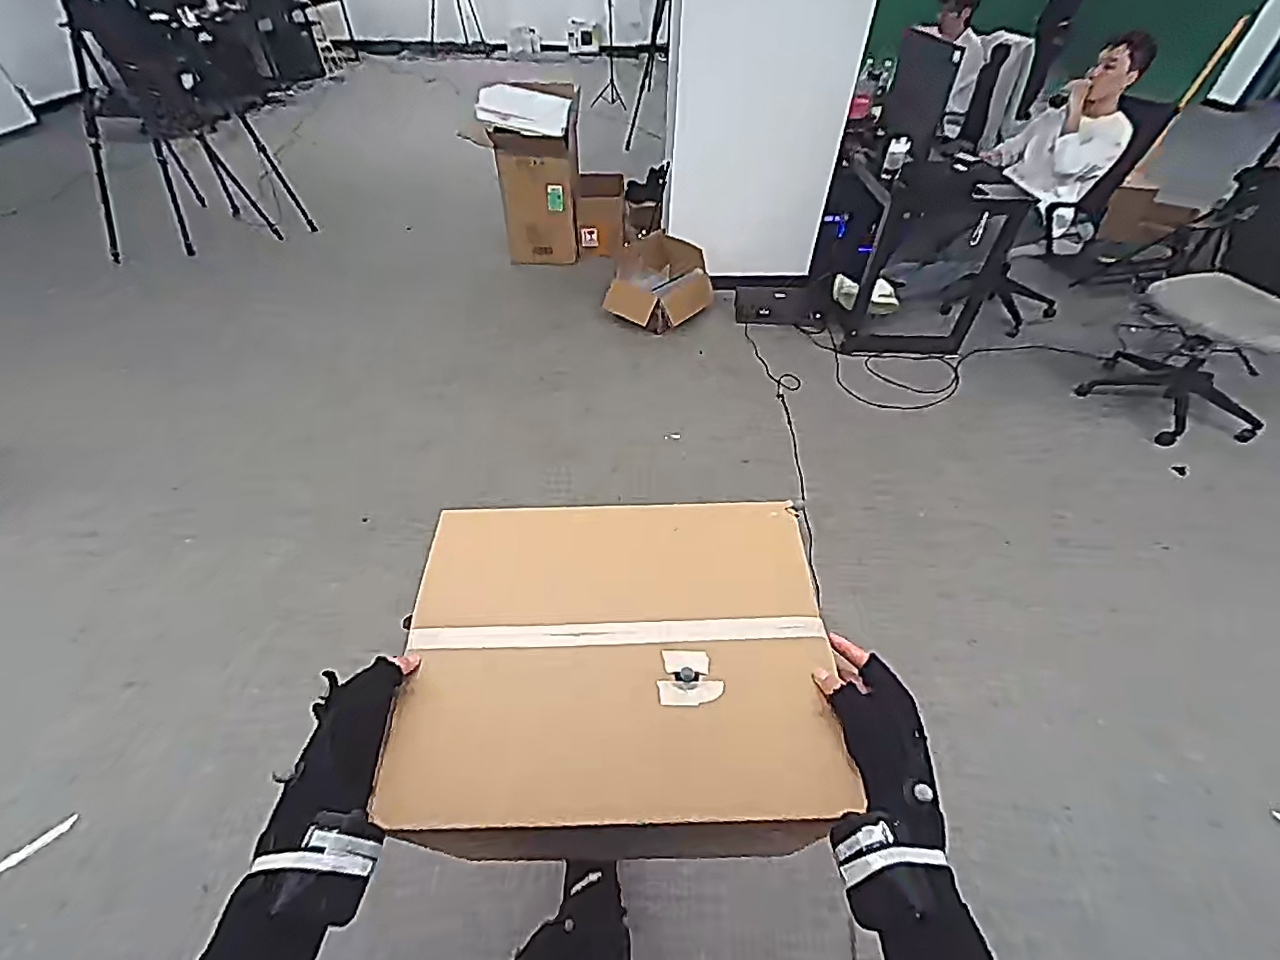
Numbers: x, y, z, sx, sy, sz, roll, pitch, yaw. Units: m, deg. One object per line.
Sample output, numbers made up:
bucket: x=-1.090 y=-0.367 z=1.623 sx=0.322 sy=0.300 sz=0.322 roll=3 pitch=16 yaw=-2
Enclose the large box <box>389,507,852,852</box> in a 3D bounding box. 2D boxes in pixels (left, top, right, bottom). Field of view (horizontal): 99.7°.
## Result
large box: x=-0.019 y=0.250 z=0.664 sx=0.408 sy=0.320 sz=0.320 roll=-1 pitch=51 yaw=0
